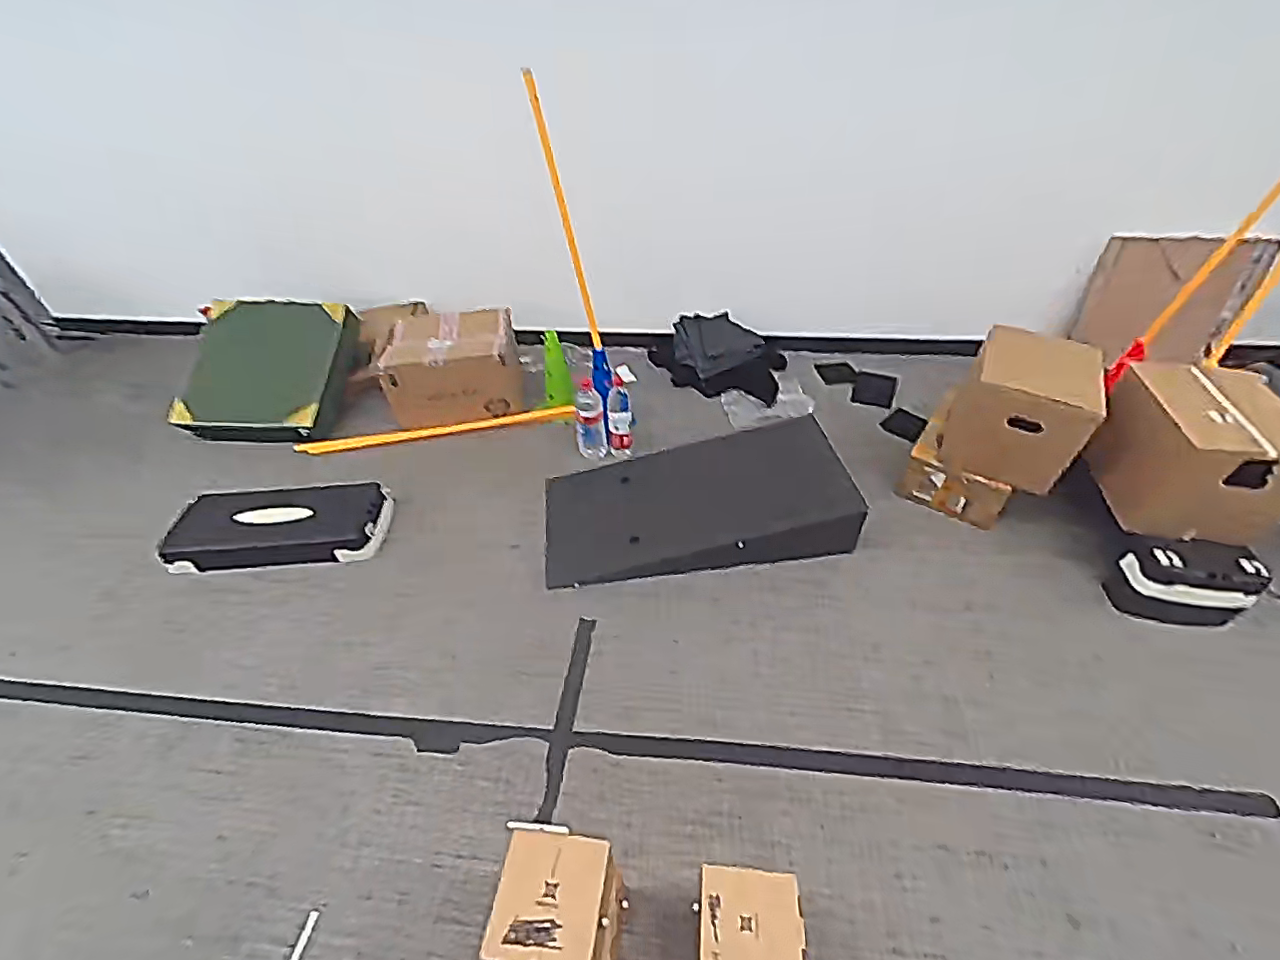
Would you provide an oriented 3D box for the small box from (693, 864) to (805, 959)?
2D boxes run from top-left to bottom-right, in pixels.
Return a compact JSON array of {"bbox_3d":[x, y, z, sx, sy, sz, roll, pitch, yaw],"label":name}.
[{"bbox_3d":[0.193,0.828,0.985,0.179,0.176,0.168,4,43,6],"label":"small box"}]

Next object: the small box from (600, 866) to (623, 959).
[{"bbox_3d":[-0.127,0.823,1.004,0.179,0.176,0.168,3,43,5],"label":"small box"}]

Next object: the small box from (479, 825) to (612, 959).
[{"bbox_3d":[-0.141,0.705,0.891,0.168,0.176,0.179,5,42,7],"label":"small box"}]
